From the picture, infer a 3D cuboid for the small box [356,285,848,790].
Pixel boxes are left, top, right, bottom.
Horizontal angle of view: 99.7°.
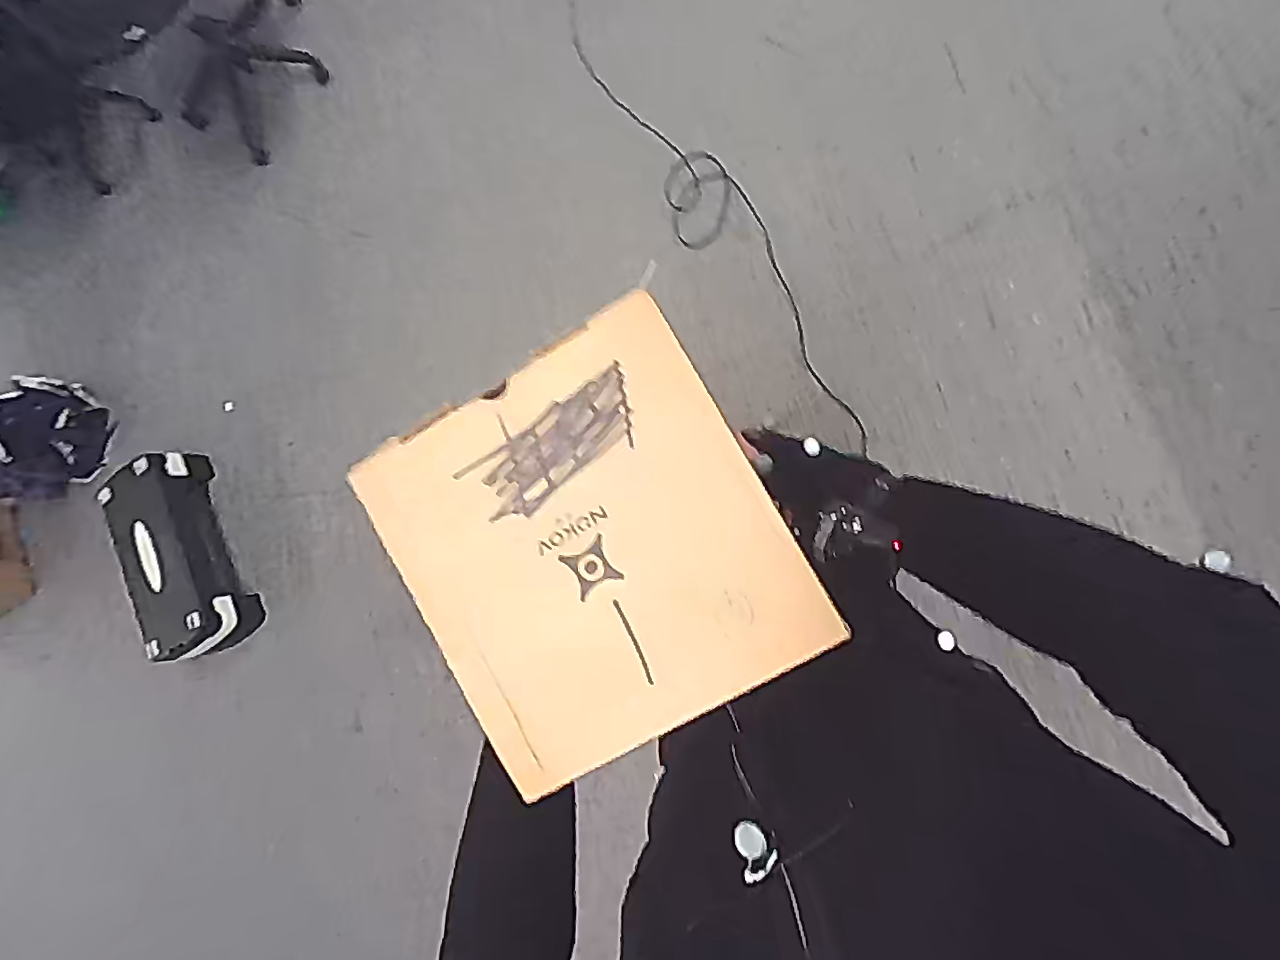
[{"bbox_3d":[-0.013,0.026,0.317,0.168,0.176,0.179,-30,88,8],"label":"small box"}]
